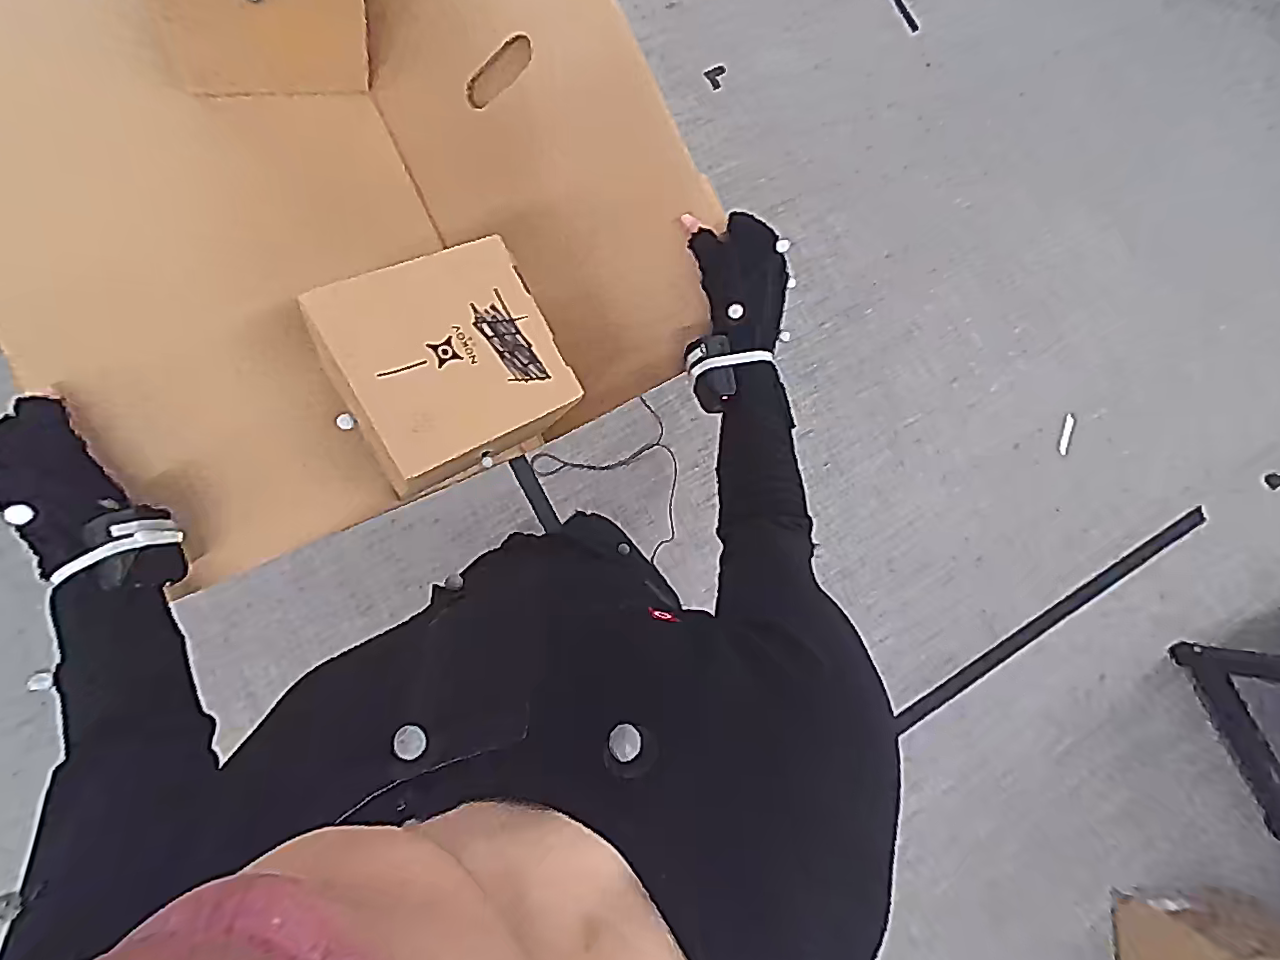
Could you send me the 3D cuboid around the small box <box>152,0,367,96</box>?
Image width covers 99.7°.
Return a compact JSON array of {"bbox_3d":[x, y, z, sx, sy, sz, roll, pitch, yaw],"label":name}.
[{"bbox_3d":[-0.379,-0.505,0.515,0.179,0.176,0.168,-21,91,-26],"label":"small box"}]
